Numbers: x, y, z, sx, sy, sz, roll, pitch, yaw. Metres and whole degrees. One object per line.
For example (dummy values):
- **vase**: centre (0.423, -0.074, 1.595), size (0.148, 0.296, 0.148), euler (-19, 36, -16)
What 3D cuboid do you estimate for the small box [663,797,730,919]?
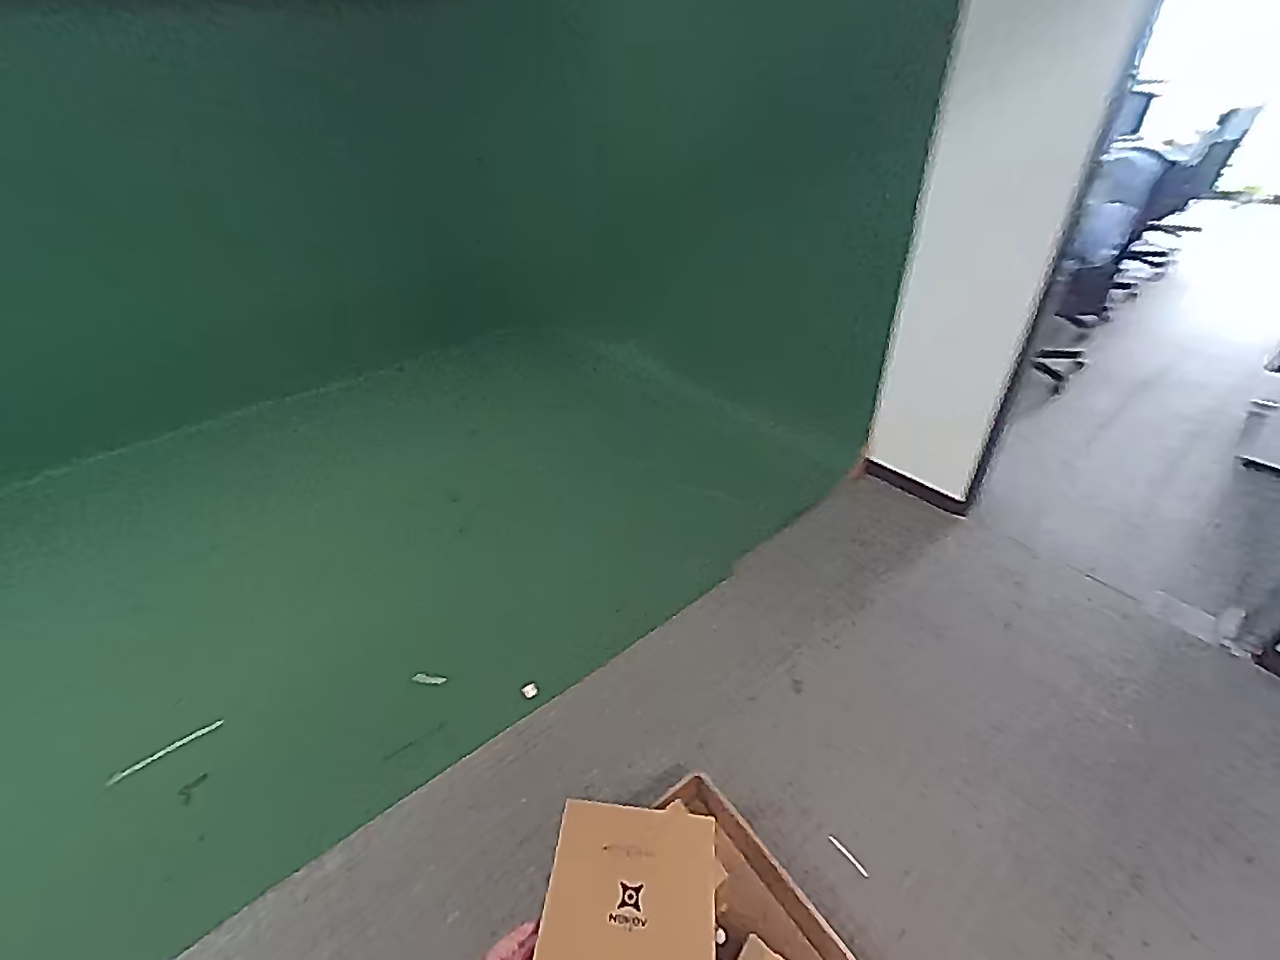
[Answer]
- **small box**: centre (0.069, 0.824, 1.135), size (0.168, 0.176, 0.179), euler (-23, 41, -22)

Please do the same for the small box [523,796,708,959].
- **small box**: centre (-0.019, 0.468, 0.562), size (0.168, 0.176, 0.179), euler (6, 34, 3)
